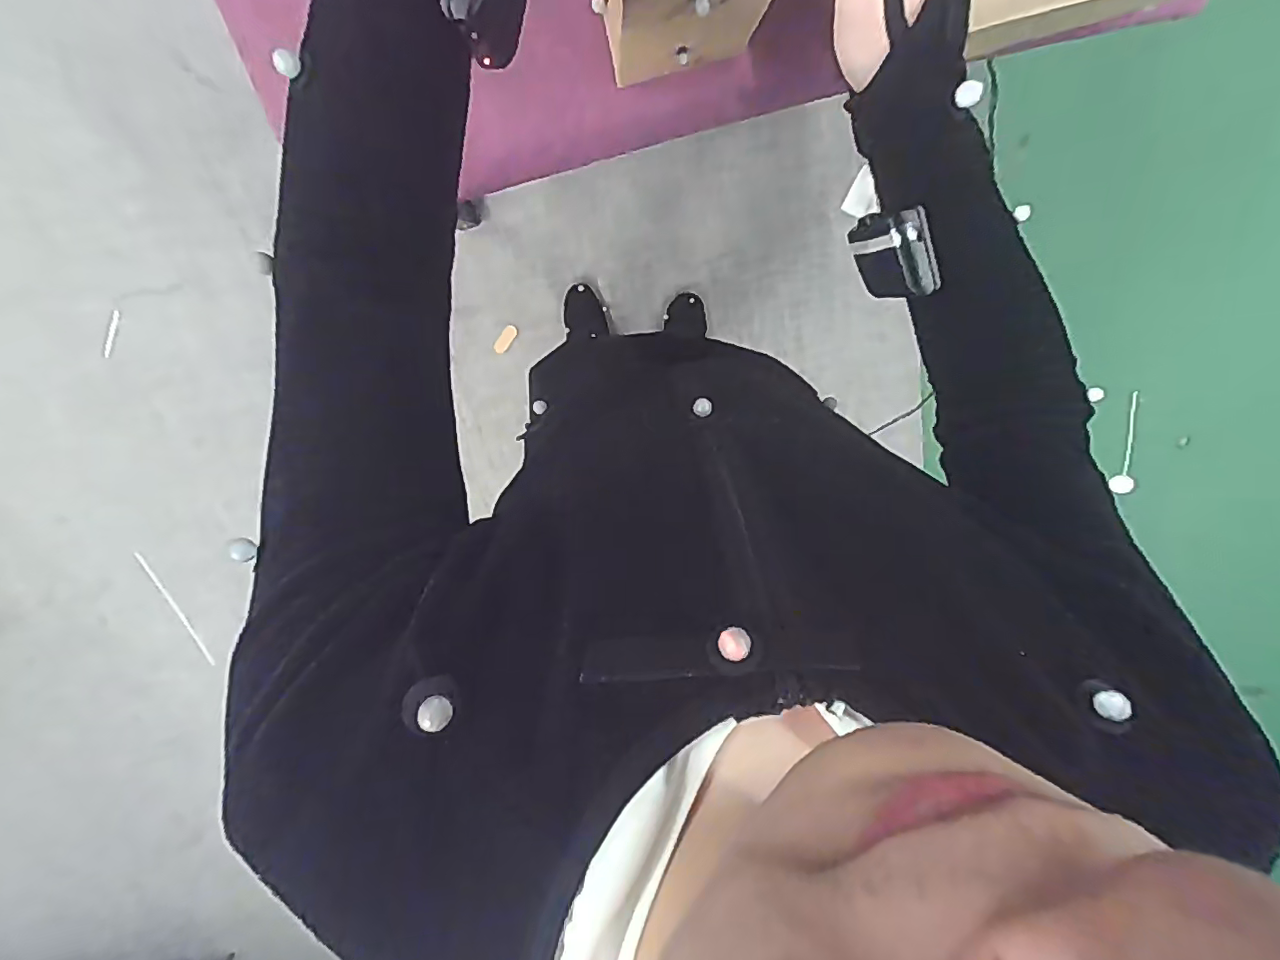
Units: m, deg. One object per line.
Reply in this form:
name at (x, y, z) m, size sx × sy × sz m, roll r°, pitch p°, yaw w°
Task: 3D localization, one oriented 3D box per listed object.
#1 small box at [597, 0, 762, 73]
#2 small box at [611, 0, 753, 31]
small box at (0.031, -0.585, 0.598) m, size 0.168 × 0.176 × 0.179 m, roll -13°, pitch 111°, yaw 2°
small box at (0.040, -0.525, 0.446) m, size 0.168 × 0.176 × 0.179 m, roll -13°, pitch 112°, yaw 3°
